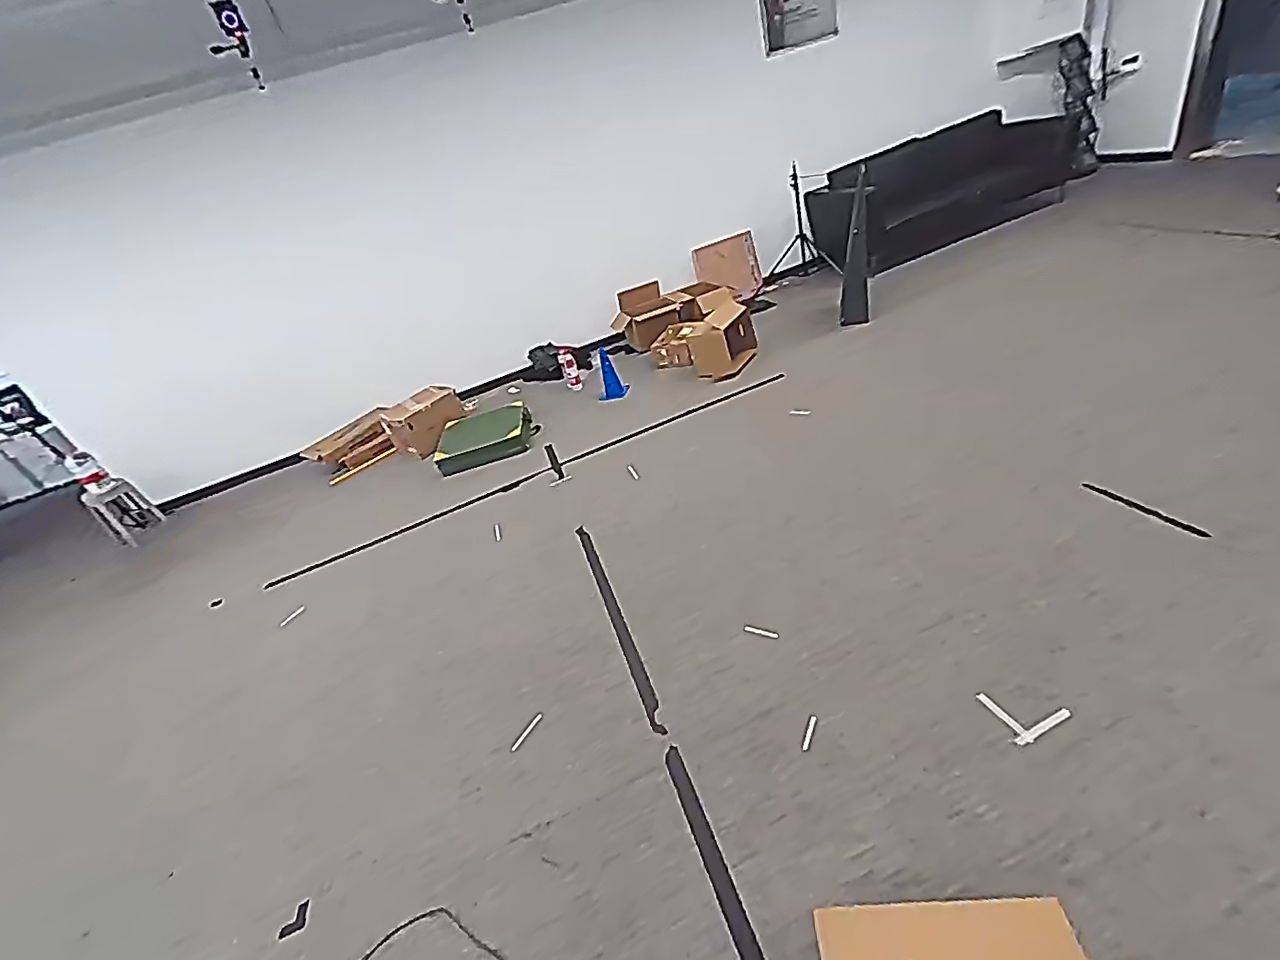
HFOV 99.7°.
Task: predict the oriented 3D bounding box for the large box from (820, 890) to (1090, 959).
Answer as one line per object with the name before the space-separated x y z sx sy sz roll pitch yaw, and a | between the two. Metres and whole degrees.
large box | 0.555 0.944 0.906 0.408 0.320 0.320 -12 30 12
